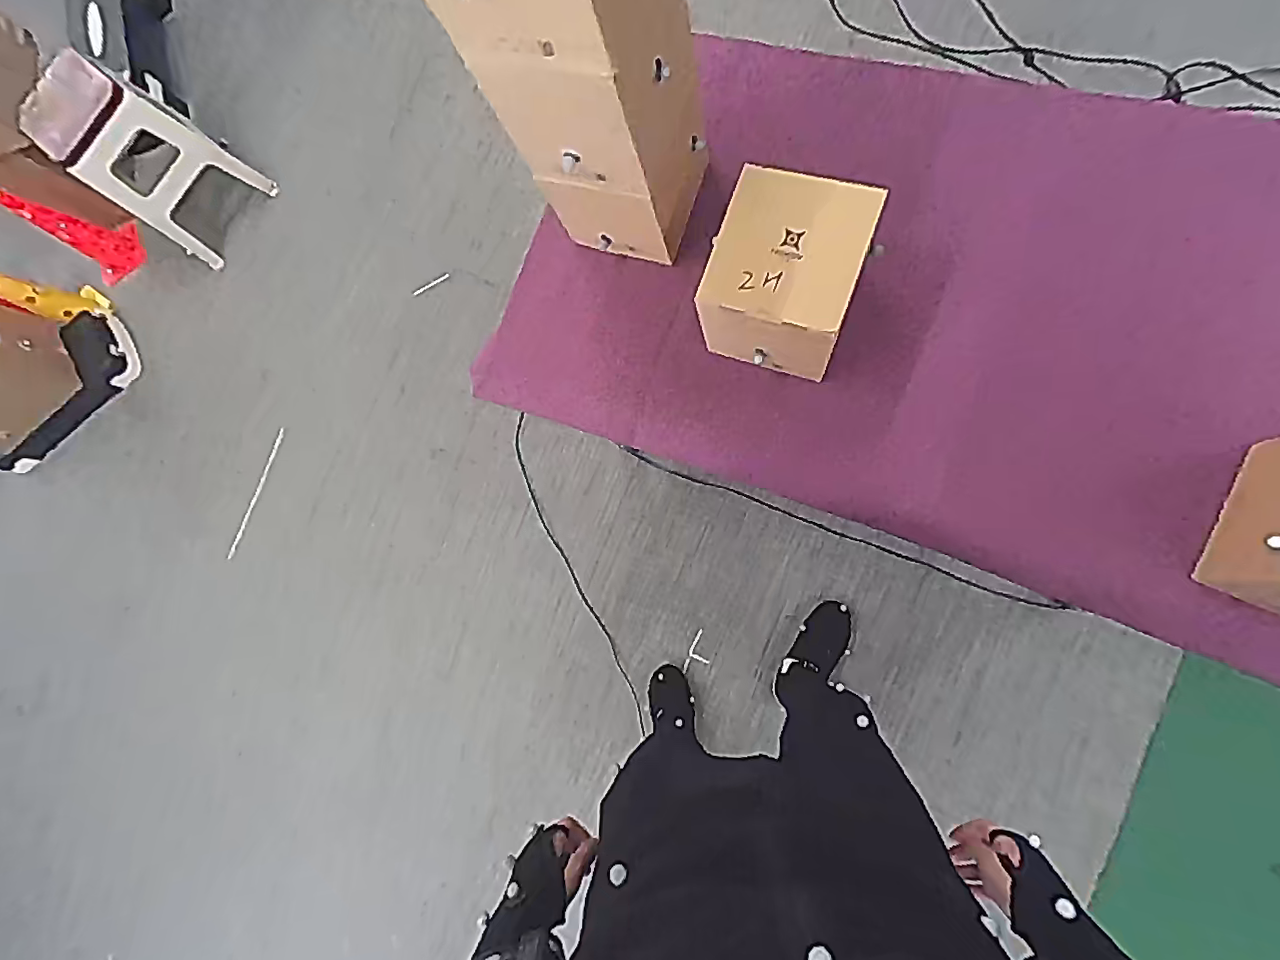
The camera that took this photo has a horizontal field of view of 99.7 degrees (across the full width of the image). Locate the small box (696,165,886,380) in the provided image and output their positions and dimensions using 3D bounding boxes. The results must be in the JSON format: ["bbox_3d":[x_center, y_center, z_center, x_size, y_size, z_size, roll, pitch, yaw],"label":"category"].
[{"bbox_3d":[0.184,-0.250,0.684,0.168,0.176,0.179,20,88,15],"label":"small box"}]

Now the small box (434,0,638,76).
[{"bbox_3d":[-0.089,-0.476,0.439,0.168,0.176,0.179,18,87,15],"label":"small box"}]

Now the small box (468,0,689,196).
[{"bbox_3d":[-0.051,-0.456,0.596,0.168,0.176,0.179,19,88,15],"label":"small box"}]

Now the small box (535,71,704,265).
[{"bbox_3d":[-0.016,-0.435,0.754,0.168,0.176,0.179,19,88,15],"label":"small box"}]
